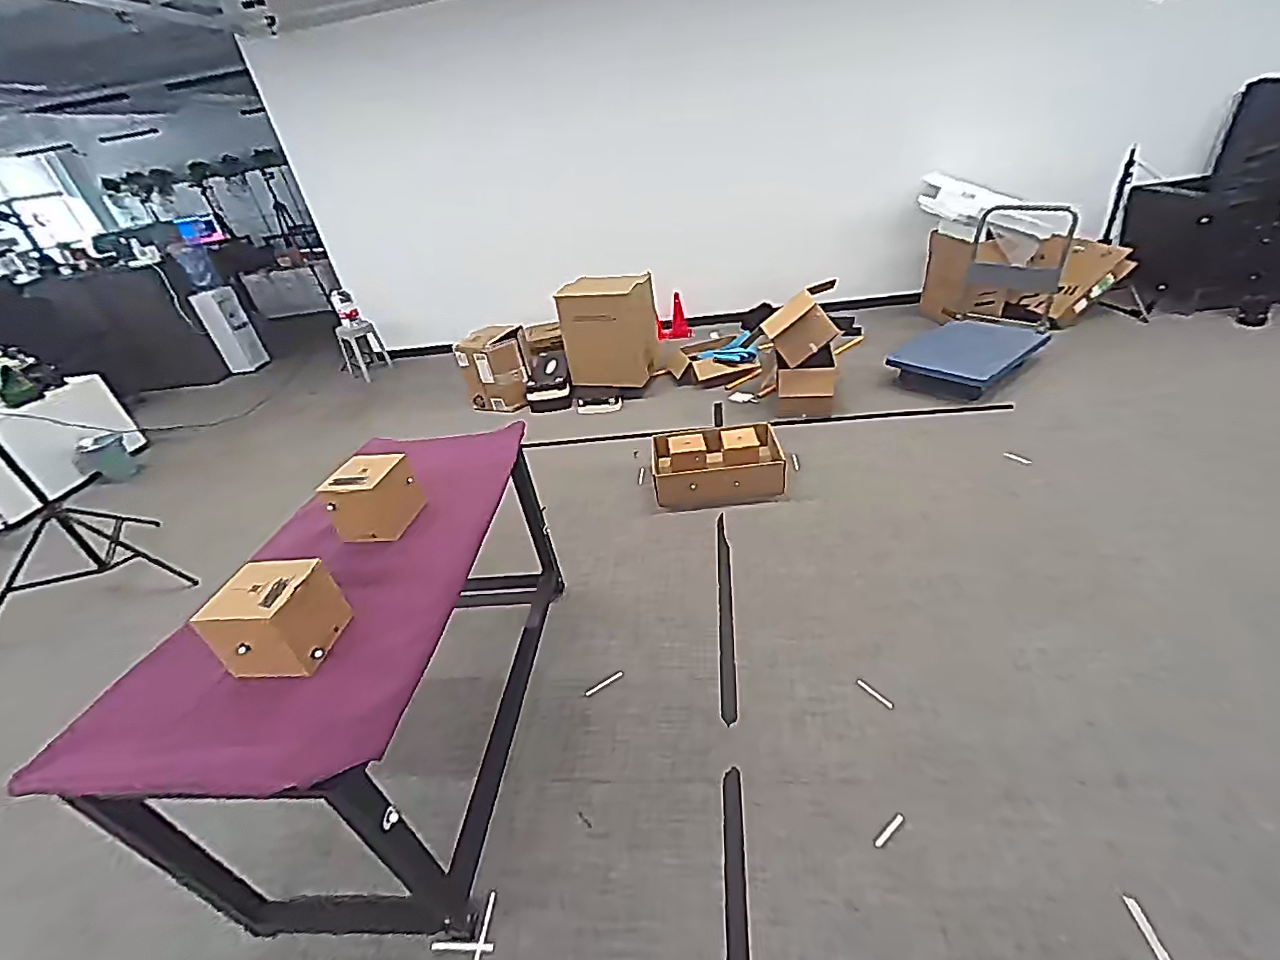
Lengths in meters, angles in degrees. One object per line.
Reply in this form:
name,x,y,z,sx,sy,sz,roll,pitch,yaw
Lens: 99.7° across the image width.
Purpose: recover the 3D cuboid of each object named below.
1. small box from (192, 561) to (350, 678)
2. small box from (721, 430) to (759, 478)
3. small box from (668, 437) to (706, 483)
small box,-0.738,0.287,1.108,0.179,0.176,0.168,-4,33,8
small box,0.494,-0.127,2.690,0.168,0.176,0.179,-7,33,5
small box,0.237,-0.099,2.708,0.179,0.176,0.168,-7,32,2
